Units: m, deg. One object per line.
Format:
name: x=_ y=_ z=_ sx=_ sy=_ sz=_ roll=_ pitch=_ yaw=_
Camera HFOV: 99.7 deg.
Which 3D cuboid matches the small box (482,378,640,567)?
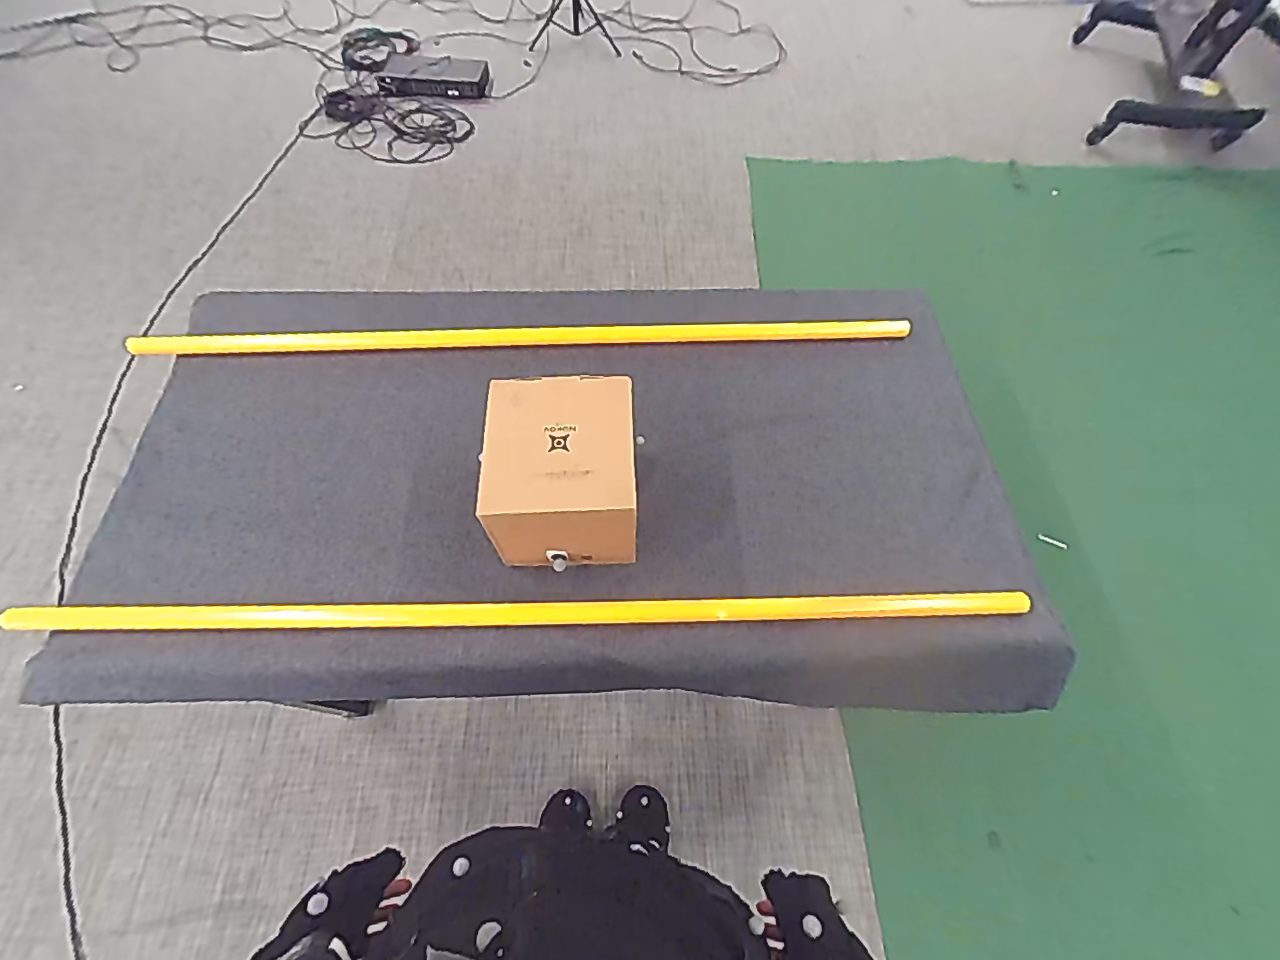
small box: x=-0.087 y=-0.004 z=0.668 sx=0.168 sy=0.176 sz=0.179 roll=-3 pitch=62 yaw=-2
